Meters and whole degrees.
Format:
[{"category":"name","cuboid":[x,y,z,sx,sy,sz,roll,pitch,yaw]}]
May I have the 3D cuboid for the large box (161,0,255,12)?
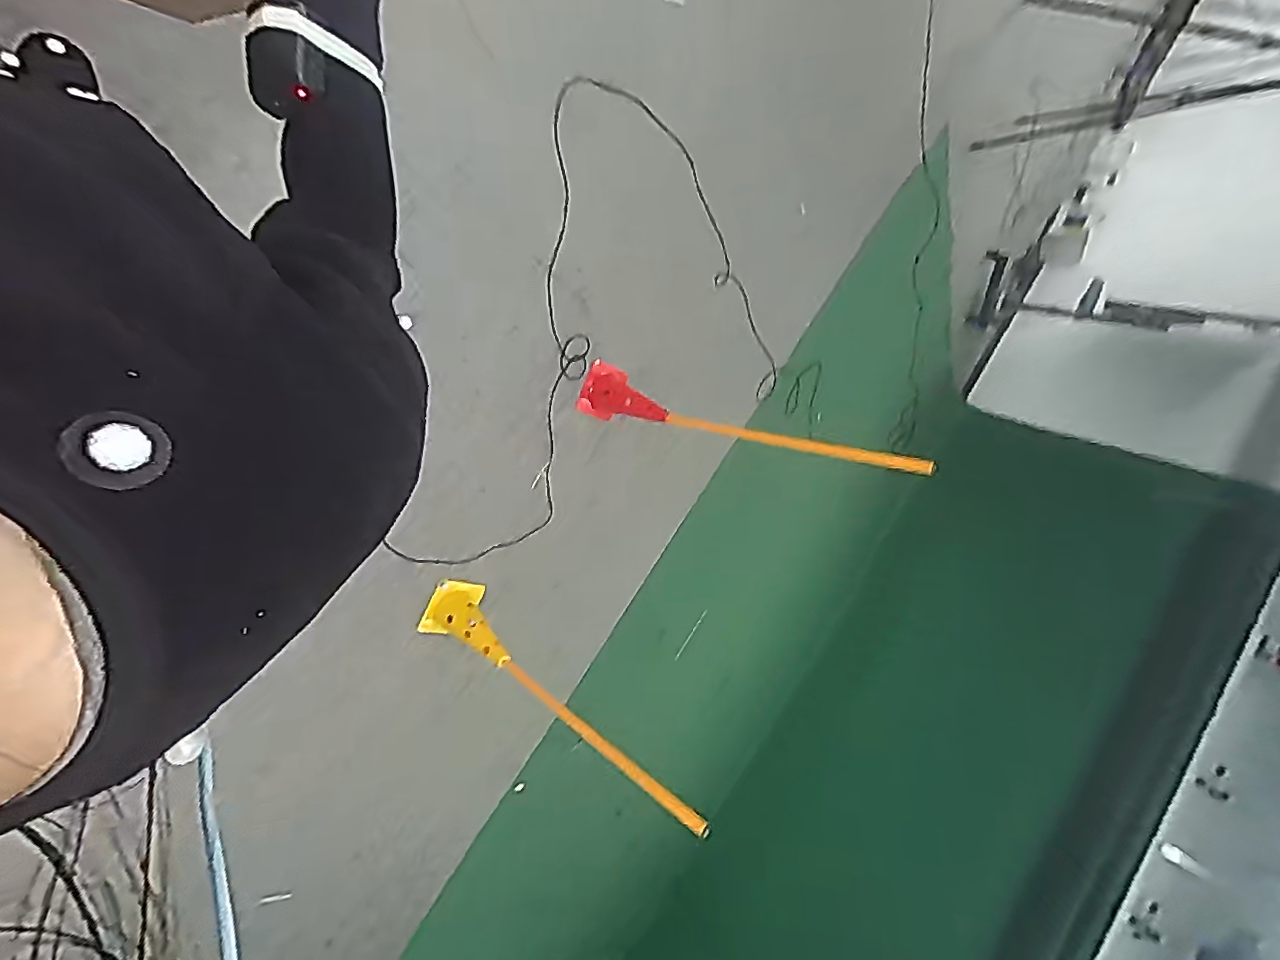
[{"category":"large box","cuboid":[-0.473,-0.547,0.309,0.408,0.320,0.320,-12,124,-46]}]
